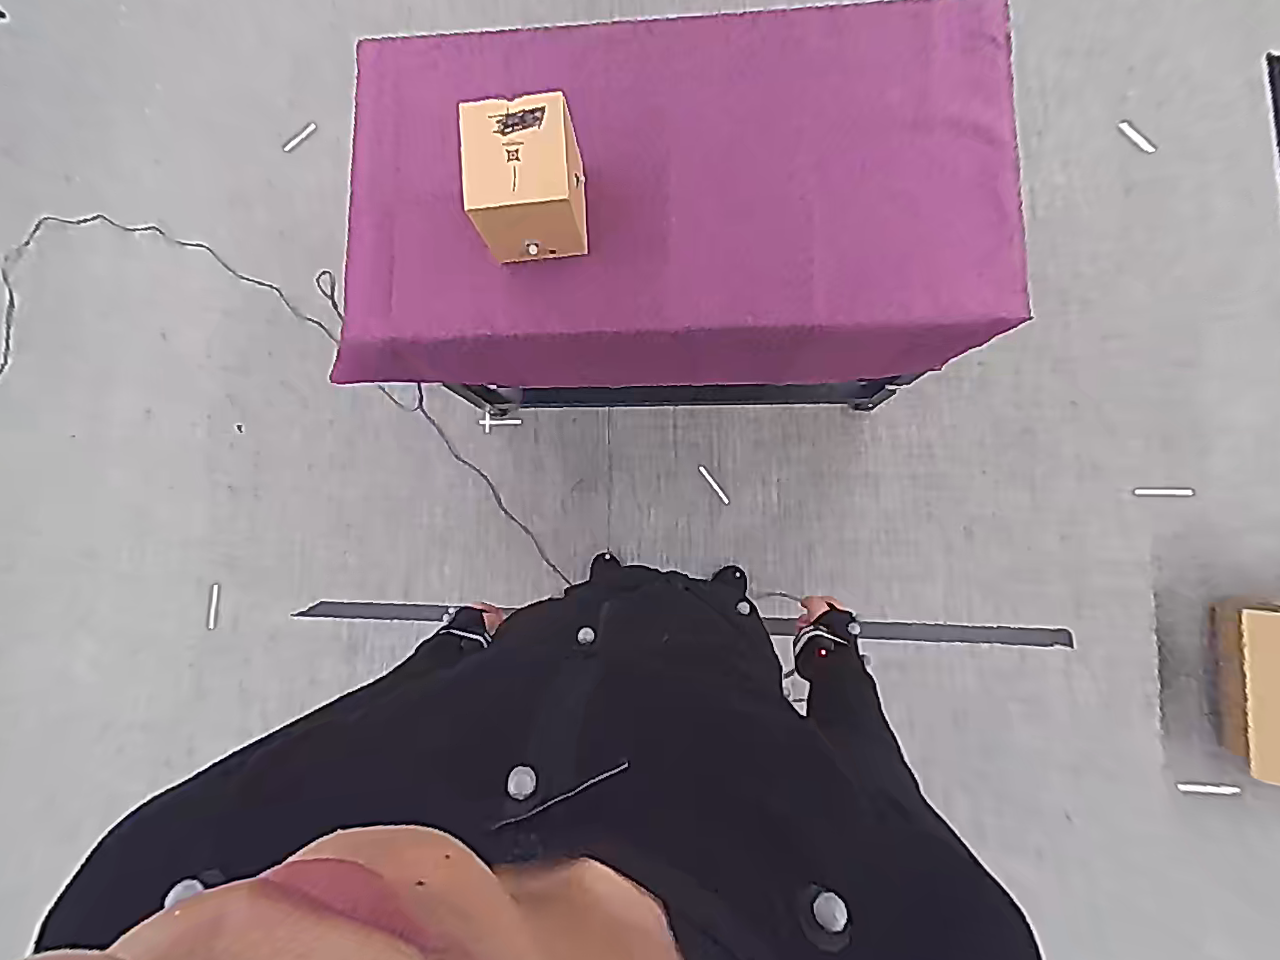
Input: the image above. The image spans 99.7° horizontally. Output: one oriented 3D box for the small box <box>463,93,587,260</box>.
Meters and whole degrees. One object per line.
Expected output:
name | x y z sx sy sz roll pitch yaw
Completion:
small box | -0.185 -0.498 0.906 0.168 0.176 0.179 -4 85 4
